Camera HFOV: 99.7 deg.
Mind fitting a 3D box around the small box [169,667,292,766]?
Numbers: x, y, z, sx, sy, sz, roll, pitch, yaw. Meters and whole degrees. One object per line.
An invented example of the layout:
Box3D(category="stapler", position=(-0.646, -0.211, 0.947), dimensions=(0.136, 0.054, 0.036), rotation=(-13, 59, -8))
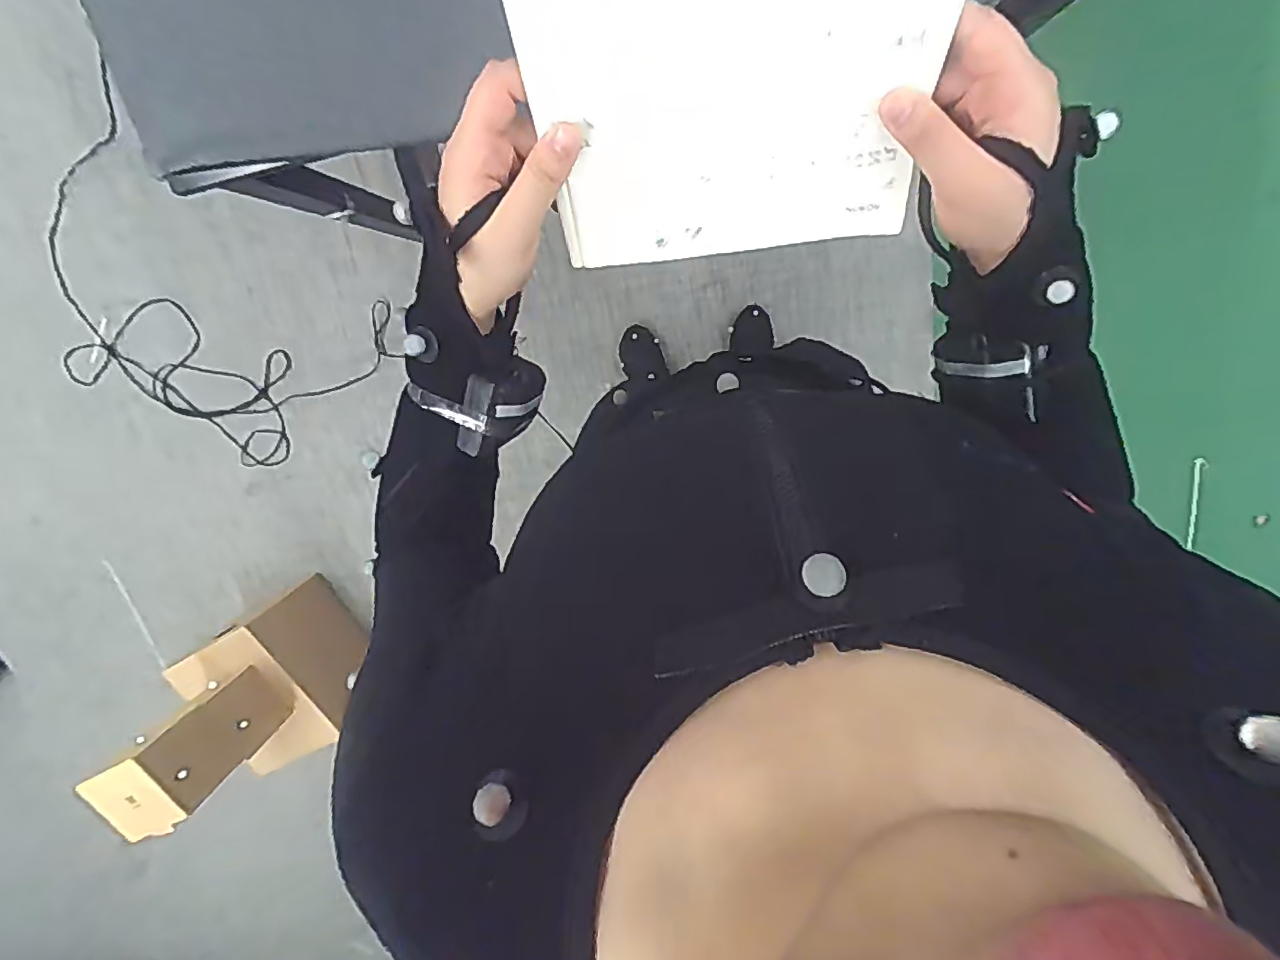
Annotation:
Box3D(category="small box", position=(-1.039, 0.613, 1.370), dimensions=(0.168, 0.176, 0.179), rotation=(-27, 103, 10))

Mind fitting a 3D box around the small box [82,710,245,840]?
Box3D(category="small box", position=(-1.054, 0.648, 1.211), dimensions=(0.168, 0.176, 0.179), rotation=(-27, 104, 10))
